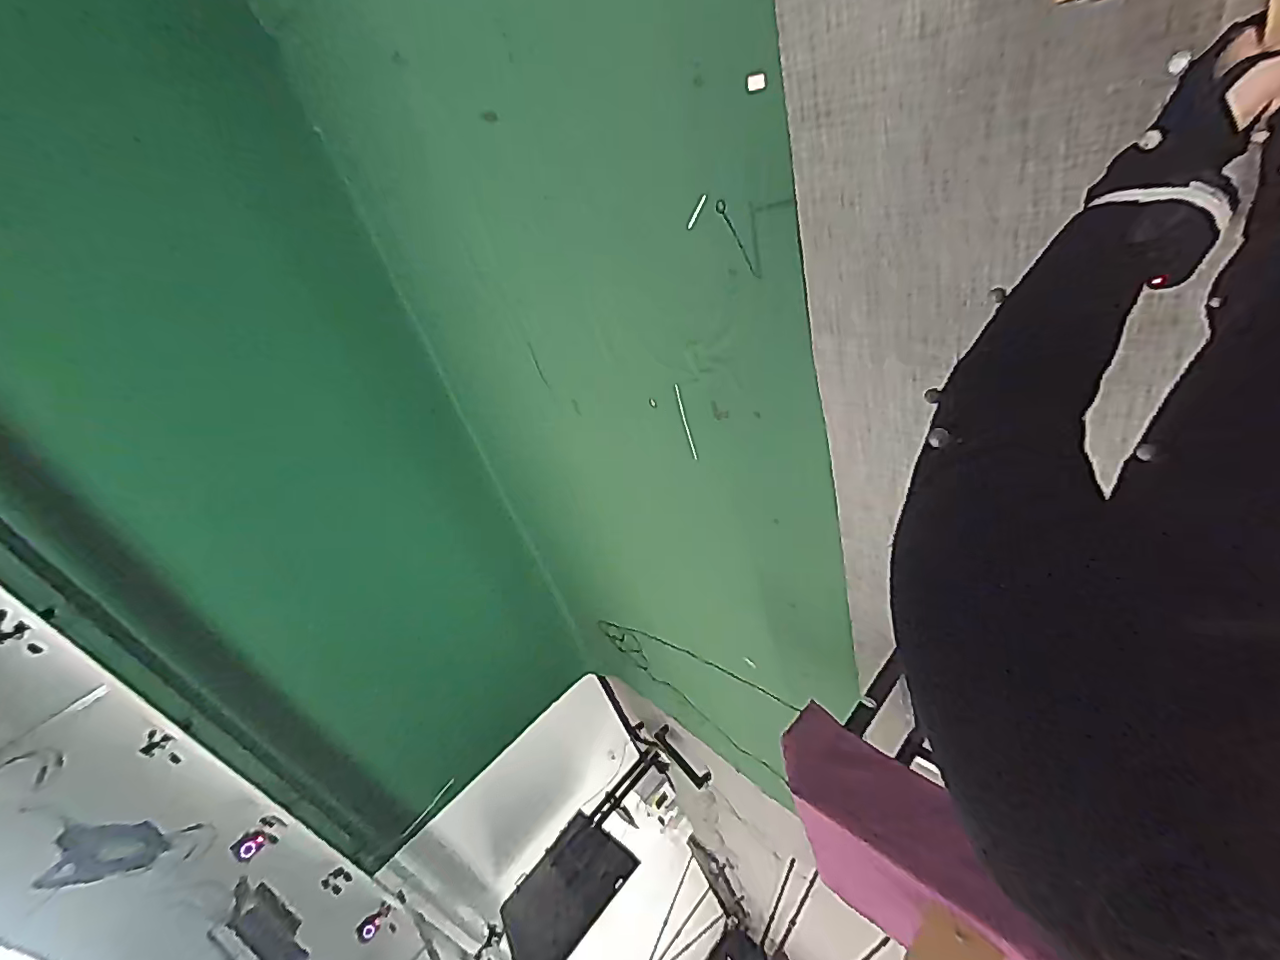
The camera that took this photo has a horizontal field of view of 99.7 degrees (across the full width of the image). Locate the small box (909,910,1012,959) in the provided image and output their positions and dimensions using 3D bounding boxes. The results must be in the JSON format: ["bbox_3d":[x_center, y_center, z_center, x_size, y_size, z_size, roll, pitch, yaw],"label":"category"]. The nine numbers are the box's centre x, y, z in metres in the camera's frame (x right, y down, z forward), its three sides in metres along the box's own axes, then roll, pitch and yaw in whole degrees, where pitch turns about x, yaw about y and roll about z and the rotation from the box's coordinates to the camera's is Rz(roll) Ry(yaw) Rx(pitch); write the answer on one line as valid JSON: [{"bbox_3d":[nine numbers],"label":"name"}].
[{"bbox_3d":[0.790,1.215,1.334,0.179,0.176,0.168,18,137,47],"label":"small box"}]
